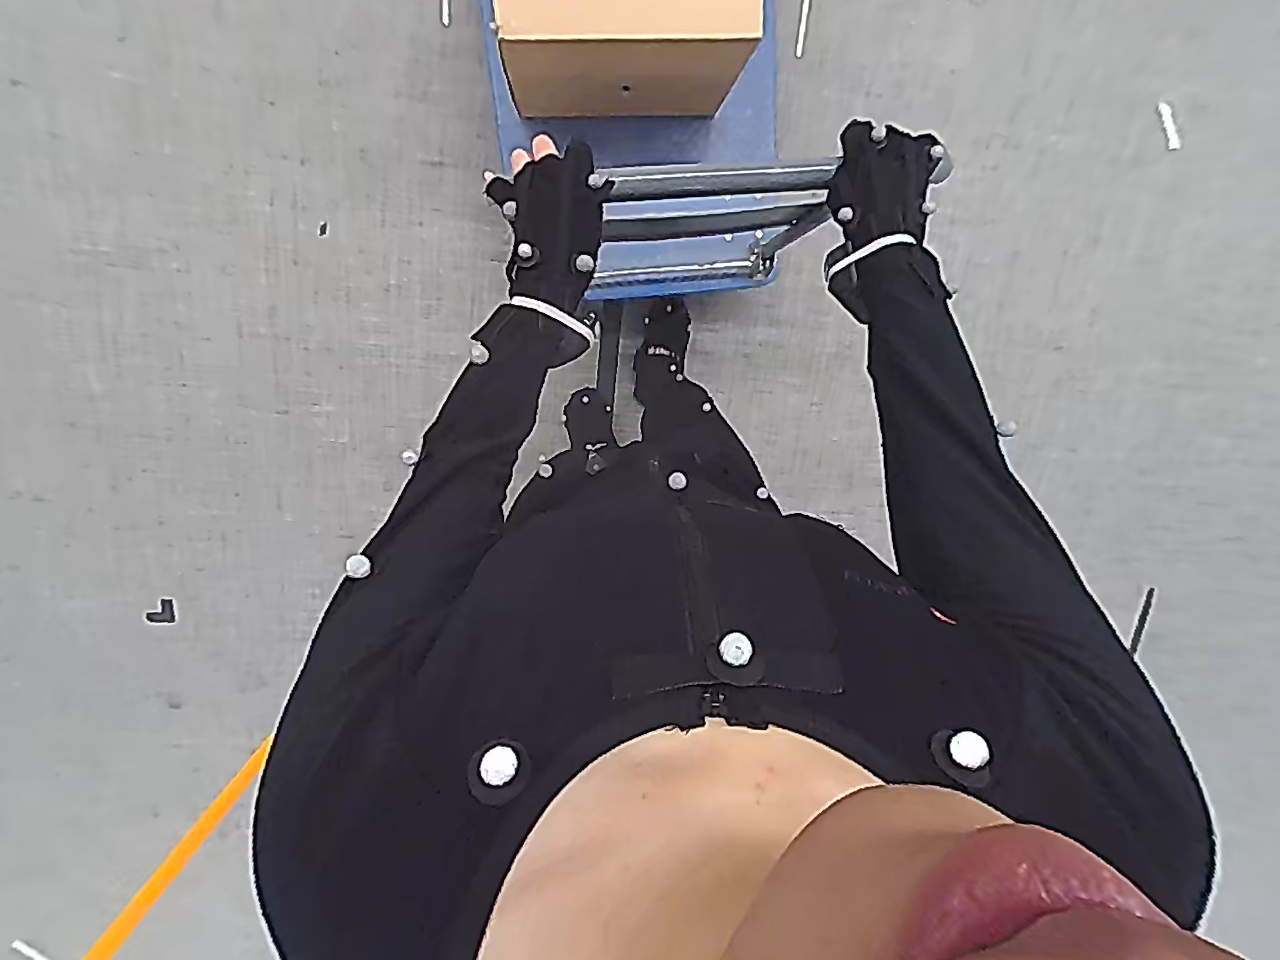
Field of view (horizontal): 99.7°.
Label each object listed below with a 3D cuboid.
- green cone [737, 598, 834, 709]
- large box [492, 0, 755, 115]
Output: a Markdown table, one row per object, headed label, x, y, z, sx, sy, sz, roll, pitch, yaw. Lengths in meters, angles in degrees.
| label | x | y | z | sx | sy | sz | roll | pitch | yaw |
| --- | --- | --- | --- | --- | --- | --- | --- | --- | --- |
| green cone | 0.427 | 0.500 | 1.486 | 0.202 | 0.368 | 0.200 | 7 | 104 | -9 |
| large box | -0.039 | -0.859 | 0.928 | 0.408 | 0.320 | 0.320 | -4 | 106 | -4 |
